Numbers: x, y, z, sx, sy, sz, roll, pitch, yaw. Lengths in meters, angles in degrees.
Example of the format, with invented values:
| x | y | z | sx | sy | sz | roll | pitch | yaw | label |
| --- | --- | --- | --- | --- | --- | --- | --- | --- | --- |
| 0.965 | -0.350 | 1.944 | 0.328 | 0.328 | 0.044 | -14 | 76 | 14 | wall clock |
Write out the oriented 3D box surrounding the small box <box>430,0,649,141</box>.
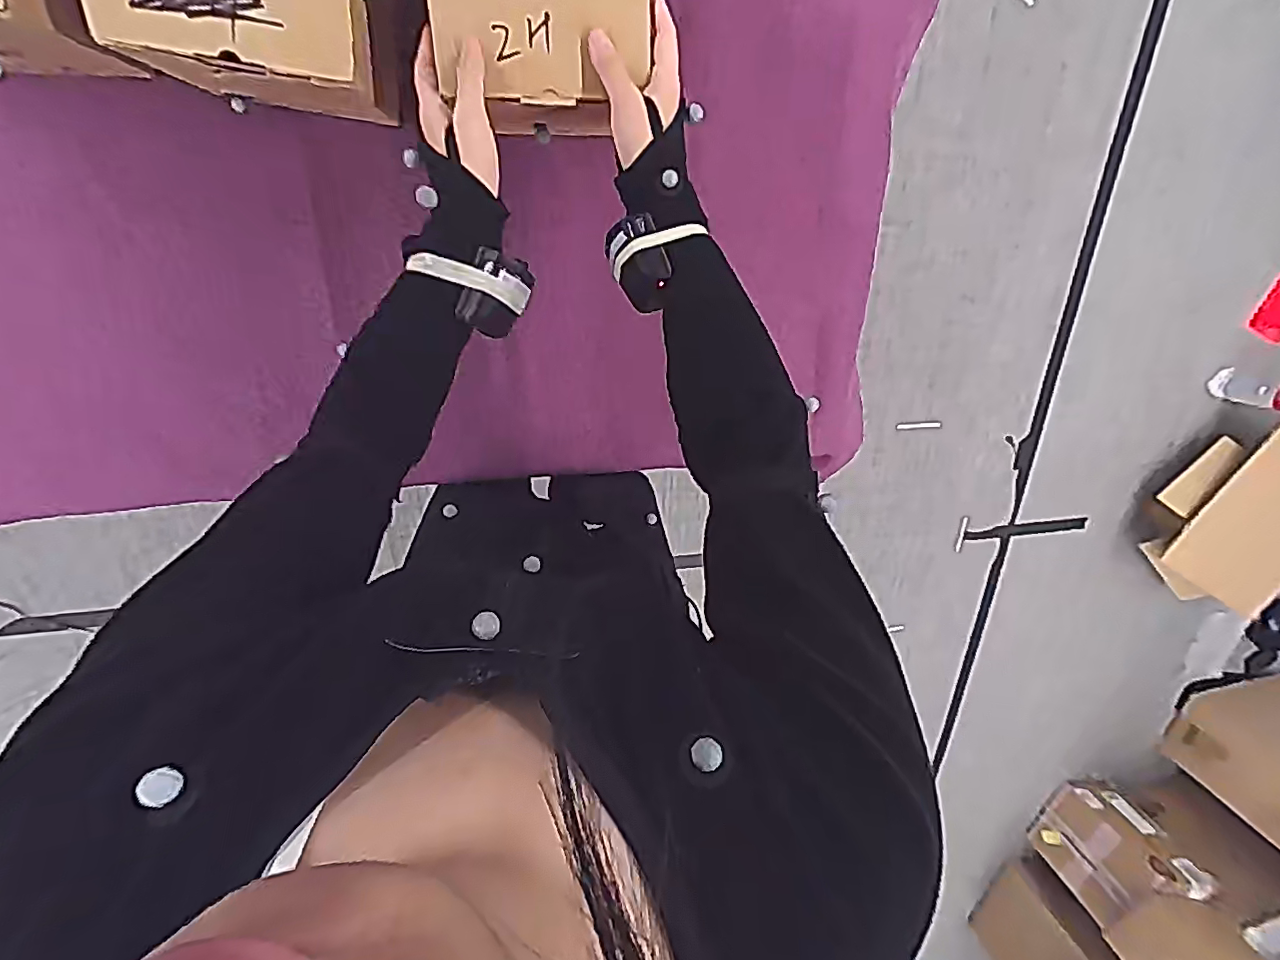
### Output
| x | y | z | sx | sy | sz | roll | pitch | yaw | label |
| --- | --- | --- | --- | --- | --- | --- | --- | --- | --- |
| -0.089 | -0.410 | 0.467 | 0.168 | 0.176 | 0.179 | -5 | 115 | -9 | small box |
